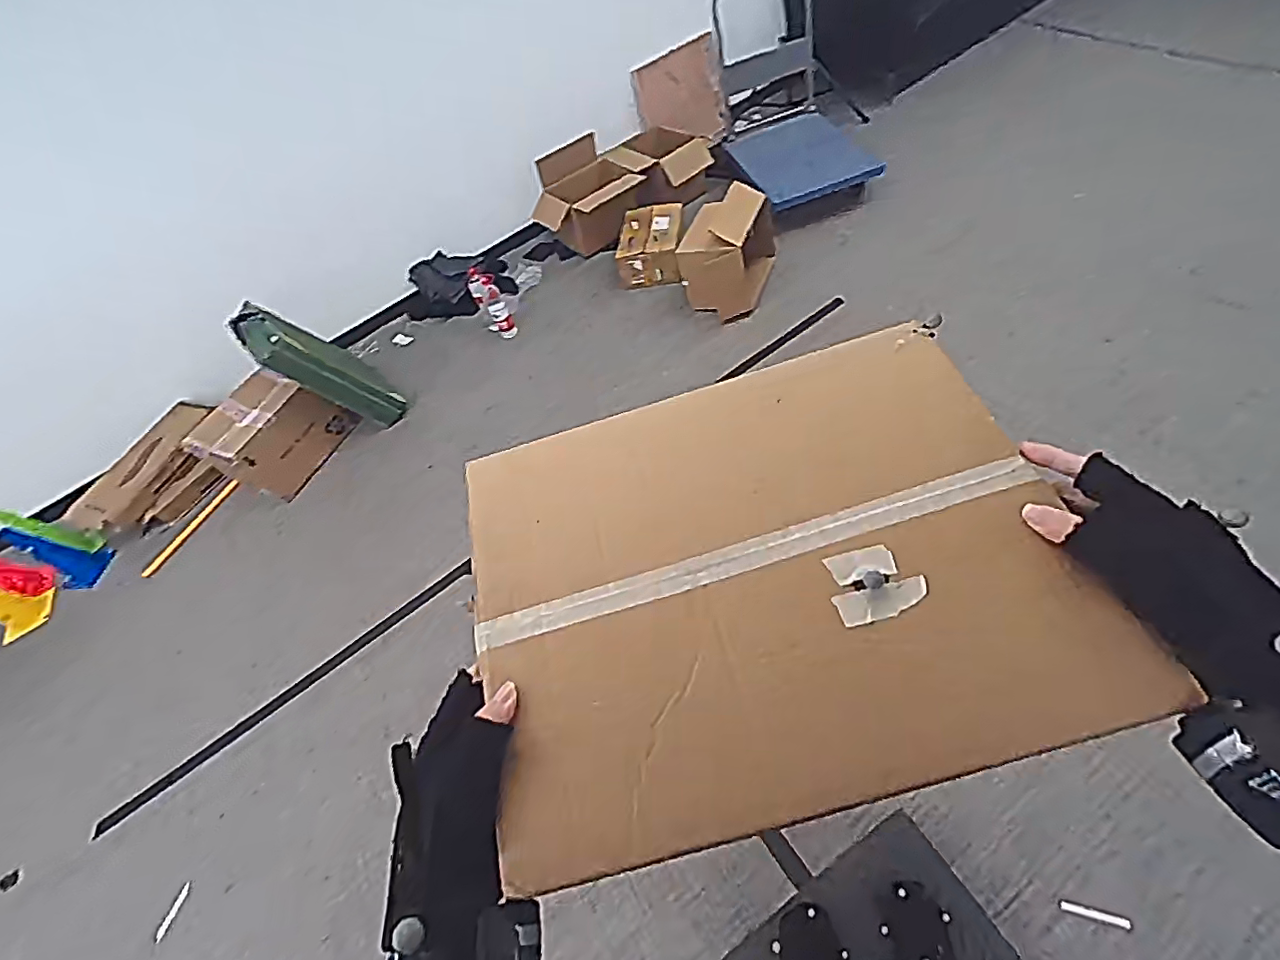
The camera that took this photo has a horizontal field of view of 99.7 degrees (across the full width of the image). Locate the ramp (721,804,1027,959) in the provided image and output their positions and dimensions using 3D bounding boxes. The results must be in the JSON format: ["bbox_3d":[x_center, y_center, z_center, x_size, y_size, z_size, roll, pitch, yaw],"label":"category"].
[{"bbox_3d":[0.632,1.162,0.892,0.509,0.206,0.991,-35,52,-11],"label":"ramp"}]

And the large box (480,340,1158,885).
[{"bbox_3d":[0.107,0.134,0.524,0.408,0.320,0.320,-17,59,2],"label":"large box"}]
